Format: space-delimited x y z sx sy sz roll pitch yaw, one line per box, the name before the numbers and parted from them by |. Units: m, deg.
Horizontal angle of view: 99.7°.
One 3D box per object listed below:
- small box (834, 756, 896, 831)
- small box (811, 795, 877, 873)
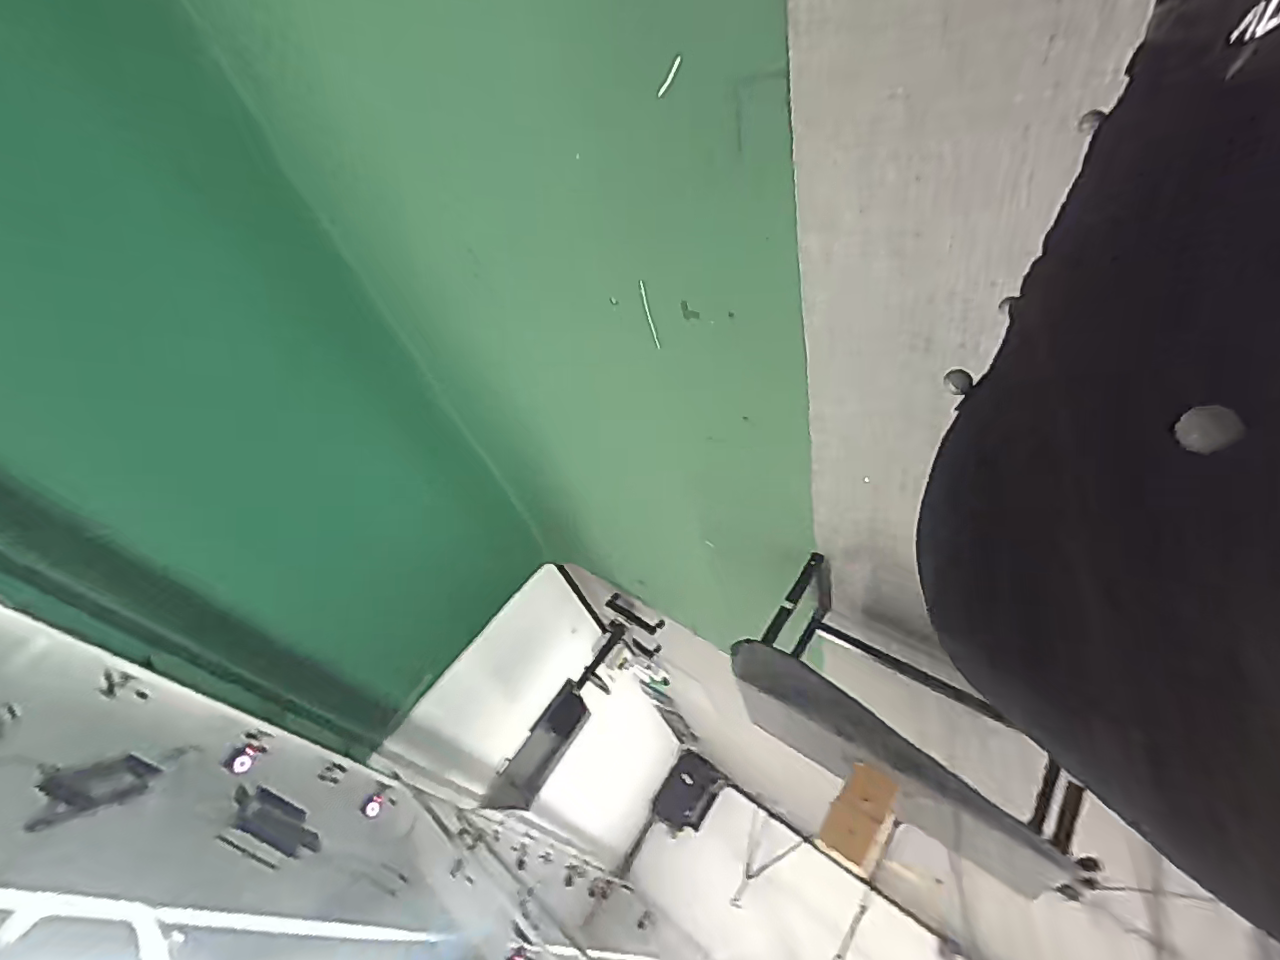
small box | 0.875 1.213 2.099 0.179 0.176 0.168 23 149 37
small box | 0.768 1.319 2.032 0.179 0.176 0.168 20 148 40
